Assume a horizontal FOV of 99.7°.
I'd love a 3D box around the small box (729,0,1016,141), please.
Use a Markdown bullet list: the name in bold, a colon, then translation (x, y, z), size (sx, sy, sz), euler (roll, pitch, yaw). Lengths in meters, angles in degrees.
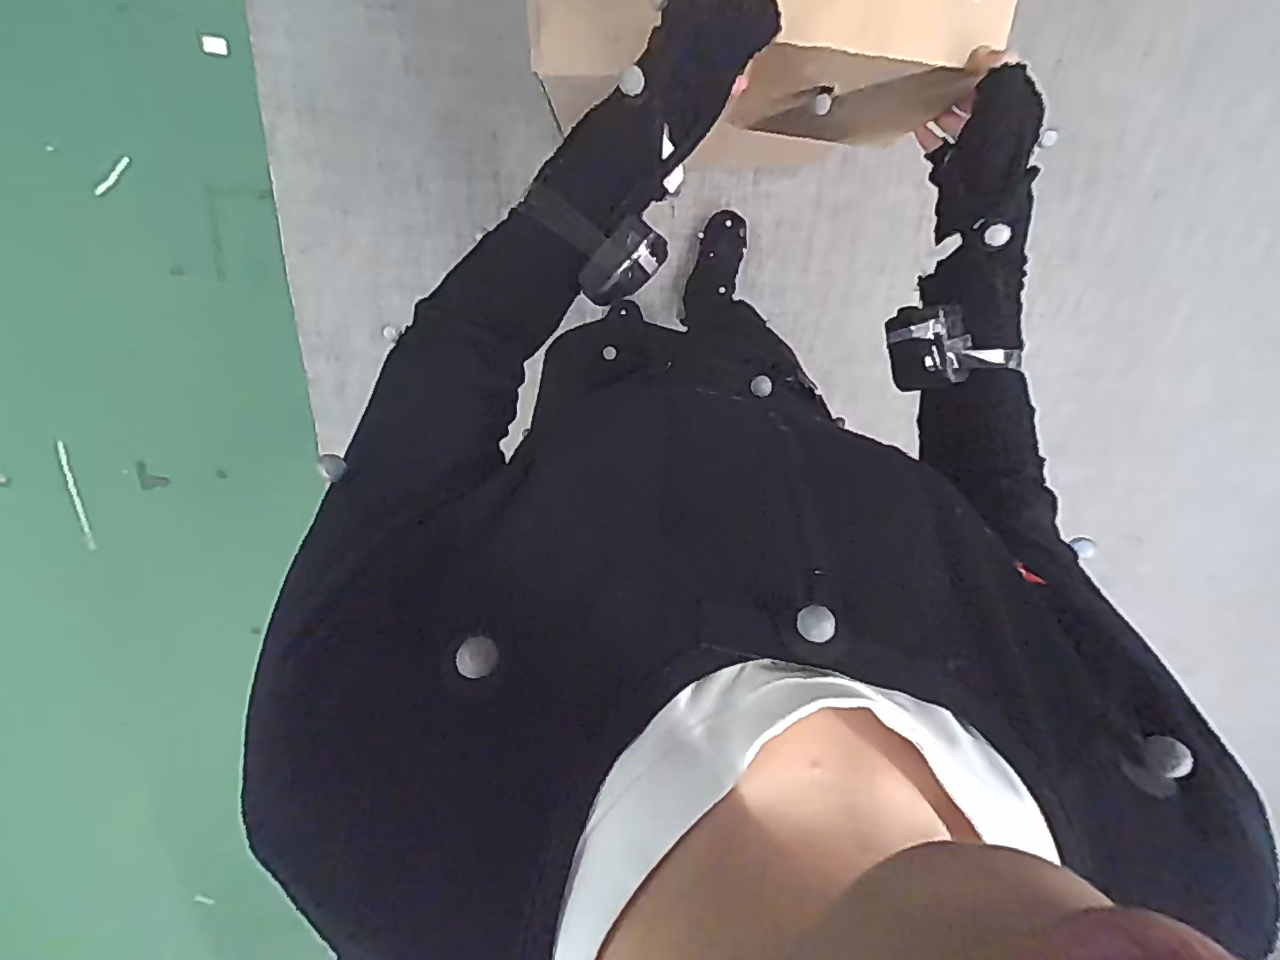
- **small box**: translation (0.177, -0.401, 0.437), size (0.179, 0.176, 0.168), euler (6, 104, -3)
